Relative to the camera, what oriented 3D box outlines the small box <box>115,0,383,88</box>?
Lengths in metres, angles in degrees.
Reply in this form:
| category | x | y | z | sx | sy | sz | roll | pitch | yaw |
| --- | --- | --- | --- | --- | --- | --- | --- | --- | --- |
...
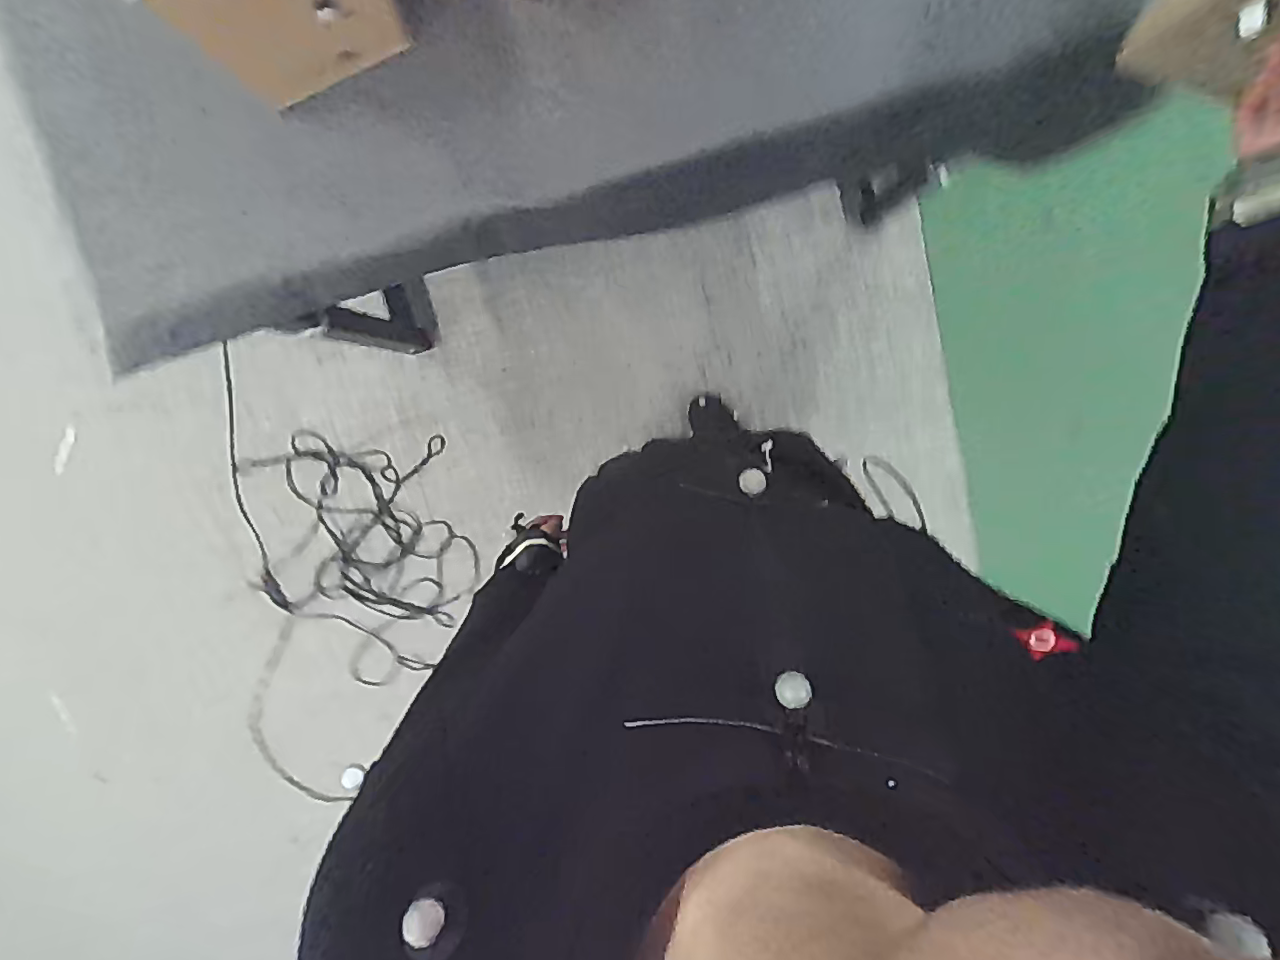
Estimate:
| category | x | y | z | sx | sy | sz | roll | pitch | yaw |
| --- | --- | --- | --- | --- | --- | --- | --- | --- | --- |
| small box | -0.359 | -0.484 | 0.464 | 0.168 | 0.176 | 0.179 | -23 | 96 | 3 |
